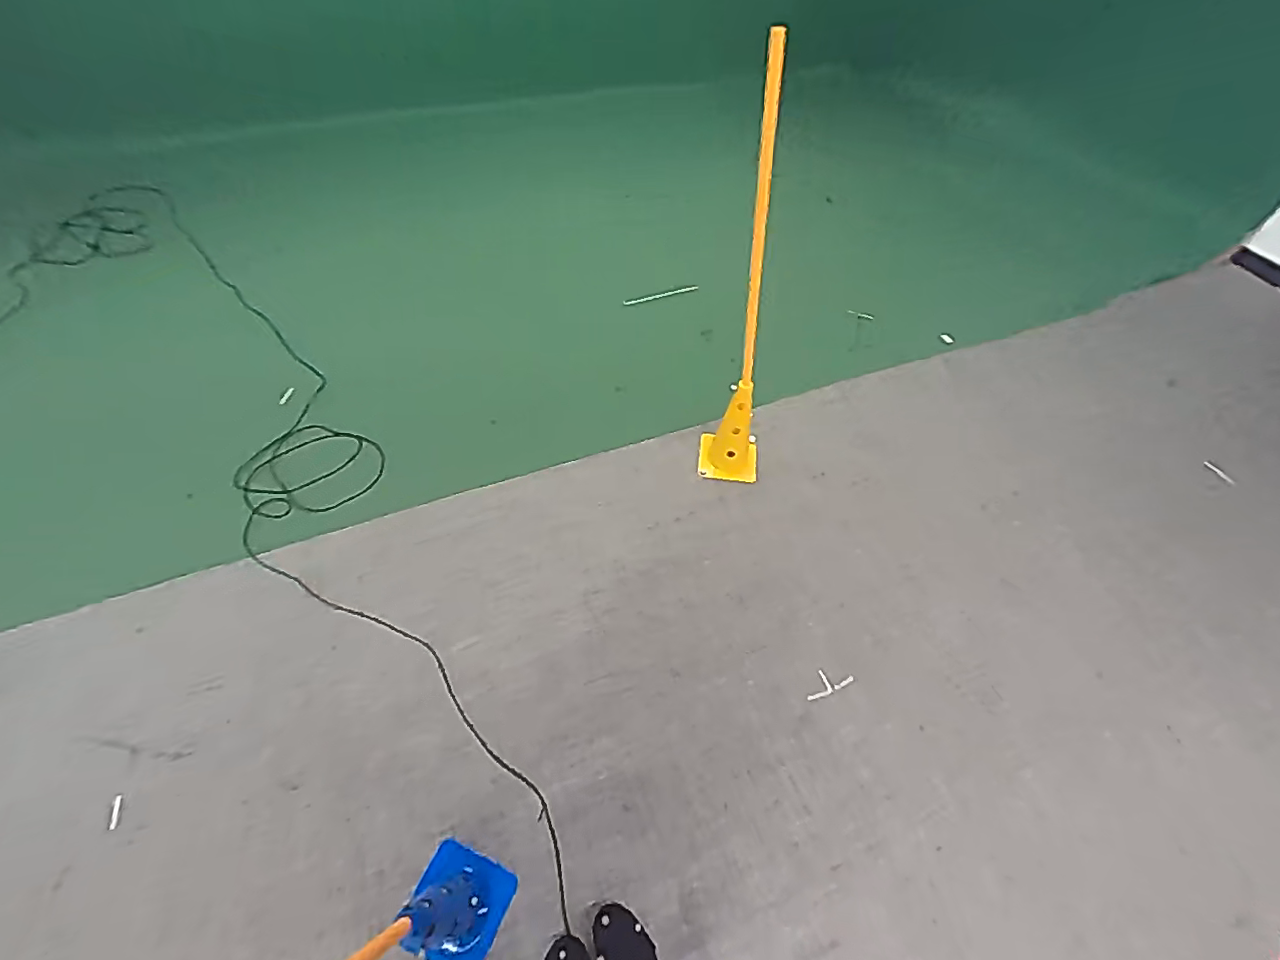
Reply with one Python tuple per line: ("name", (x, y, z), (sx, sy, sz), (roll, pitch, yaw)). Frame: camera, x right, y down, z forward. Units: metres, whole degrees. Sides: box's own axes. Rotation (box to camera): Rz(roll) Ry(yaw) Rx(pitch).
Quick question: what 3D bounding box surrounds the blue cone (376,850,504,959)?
("blue cone", (-0.391, 0.820, 0.995), (0.192, 0.380, 0.193), (20, 58, 11))
